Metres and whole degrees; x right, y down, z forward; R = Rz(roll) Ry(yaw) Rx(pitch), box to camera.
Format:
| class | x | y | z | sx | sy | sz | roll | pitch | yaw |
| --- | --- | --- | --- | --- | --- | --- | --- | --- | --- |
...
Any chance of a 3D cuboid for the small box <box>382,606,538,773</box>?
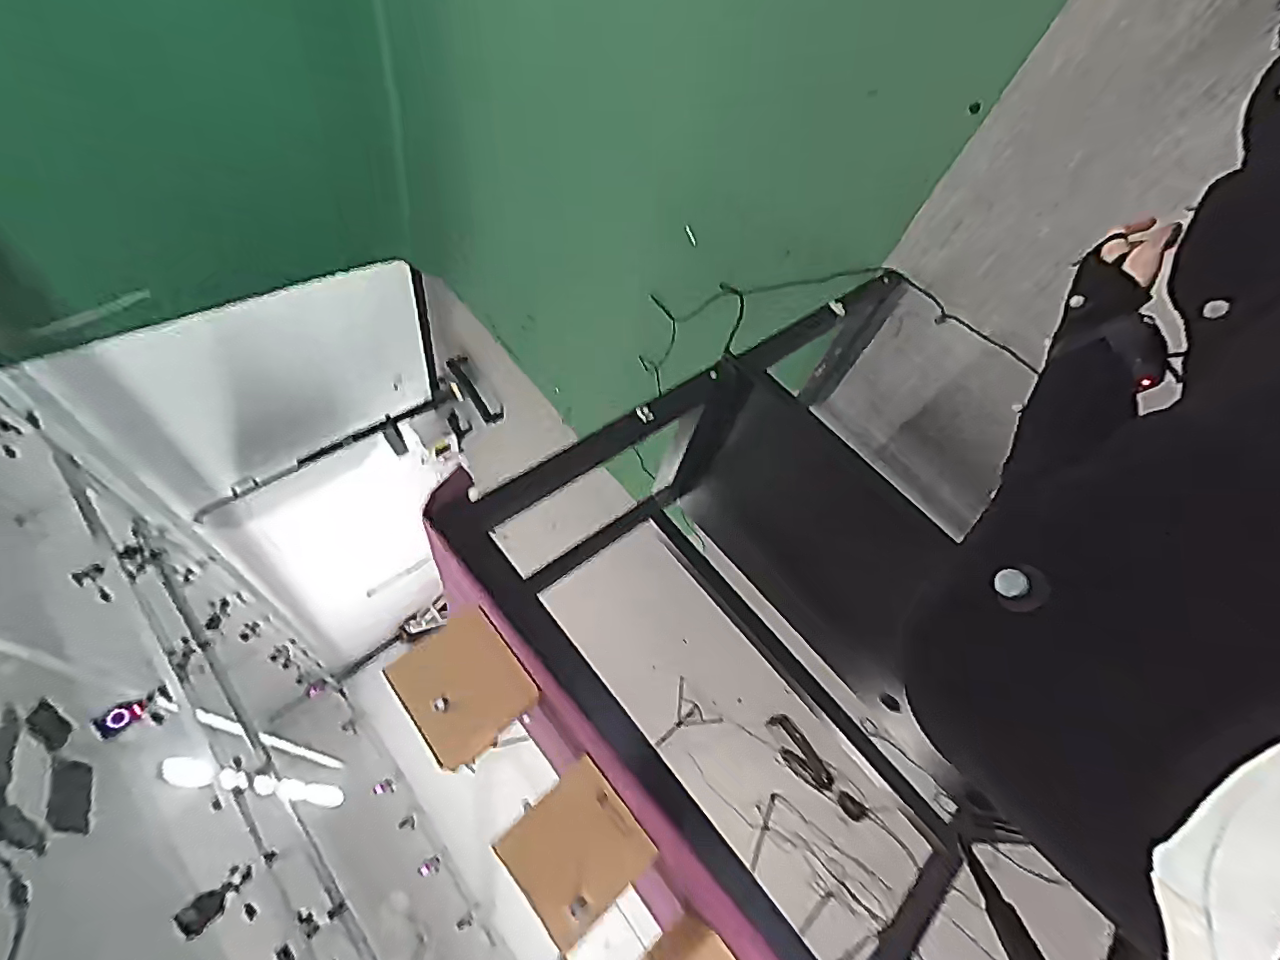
| class | x | y | z | sx | sy | sz | roll | pitch | yaw |
| --- | --- | --- | --- | --- | --- | --- | --- | --- | --- |
| small box | -0.281 | 0.339 | 0.878 | 0.179 | 0.176 | 0.168 | 48 | 151 | 16 |

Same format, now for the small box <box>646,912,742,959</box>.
| class | x | y | z | sx | sy | sz | roll | pitch | yaw |
| --- | --- | --- | --- | --- | --- | --- | --- | --- | --- |
| small box | 0.079 | 0.727 | 0.718 | 0.168 | 0.176 | 0.179 | 49 | 151 | 16 |
